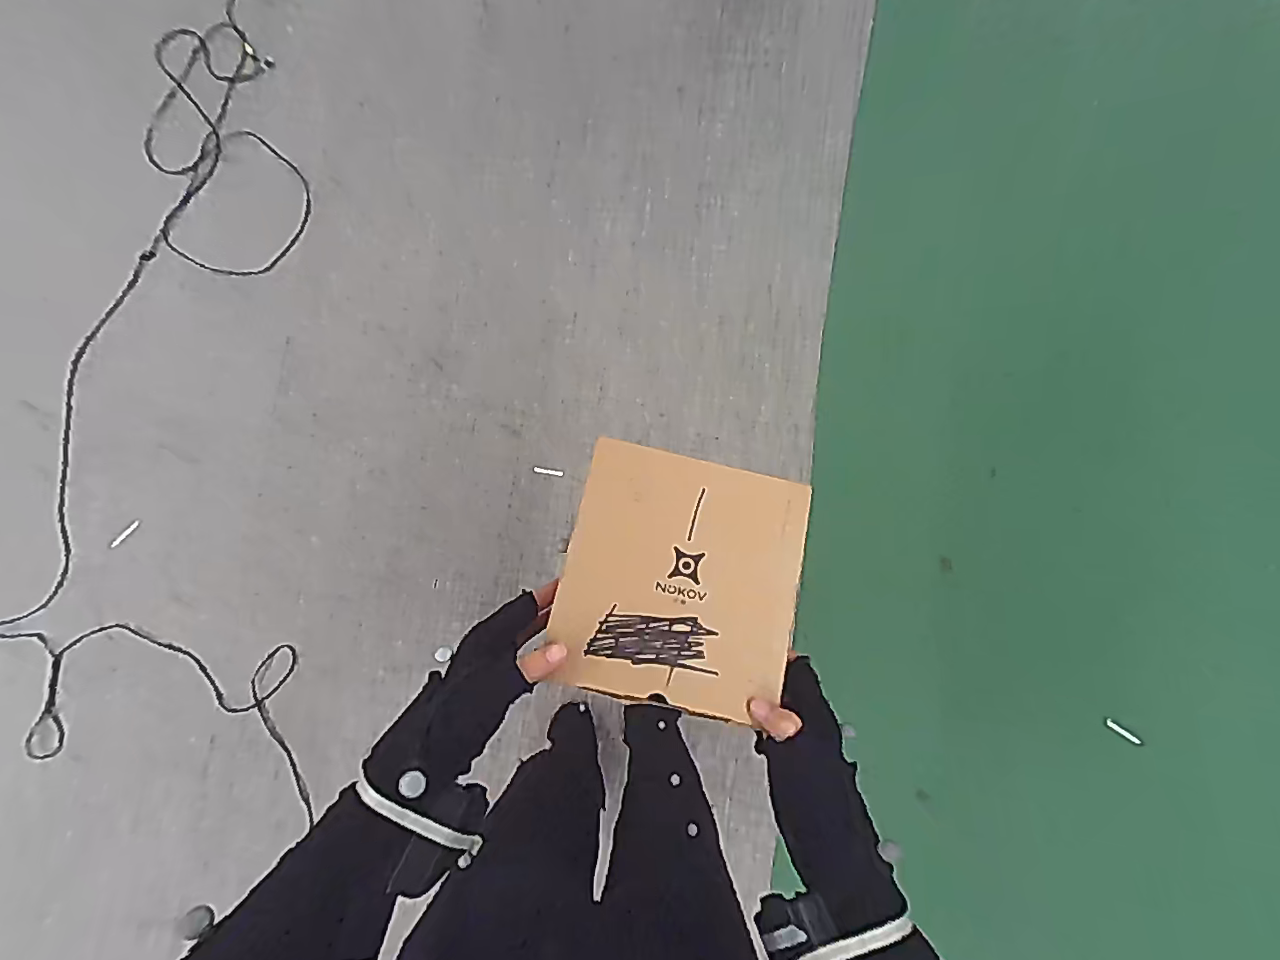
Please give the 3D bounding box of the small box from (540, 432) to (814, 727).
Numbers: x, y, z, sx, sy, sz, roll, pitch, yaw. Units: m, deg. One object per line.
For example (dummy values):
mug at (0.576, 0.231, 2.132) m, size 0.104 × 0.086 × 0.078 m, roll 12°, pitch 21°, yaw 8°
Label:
small box at (0.025, 0.084, 0.459) m, size 0.168 × 0.176 × 0.179 m, roll 14°, pitch 75°, yaw -2°
